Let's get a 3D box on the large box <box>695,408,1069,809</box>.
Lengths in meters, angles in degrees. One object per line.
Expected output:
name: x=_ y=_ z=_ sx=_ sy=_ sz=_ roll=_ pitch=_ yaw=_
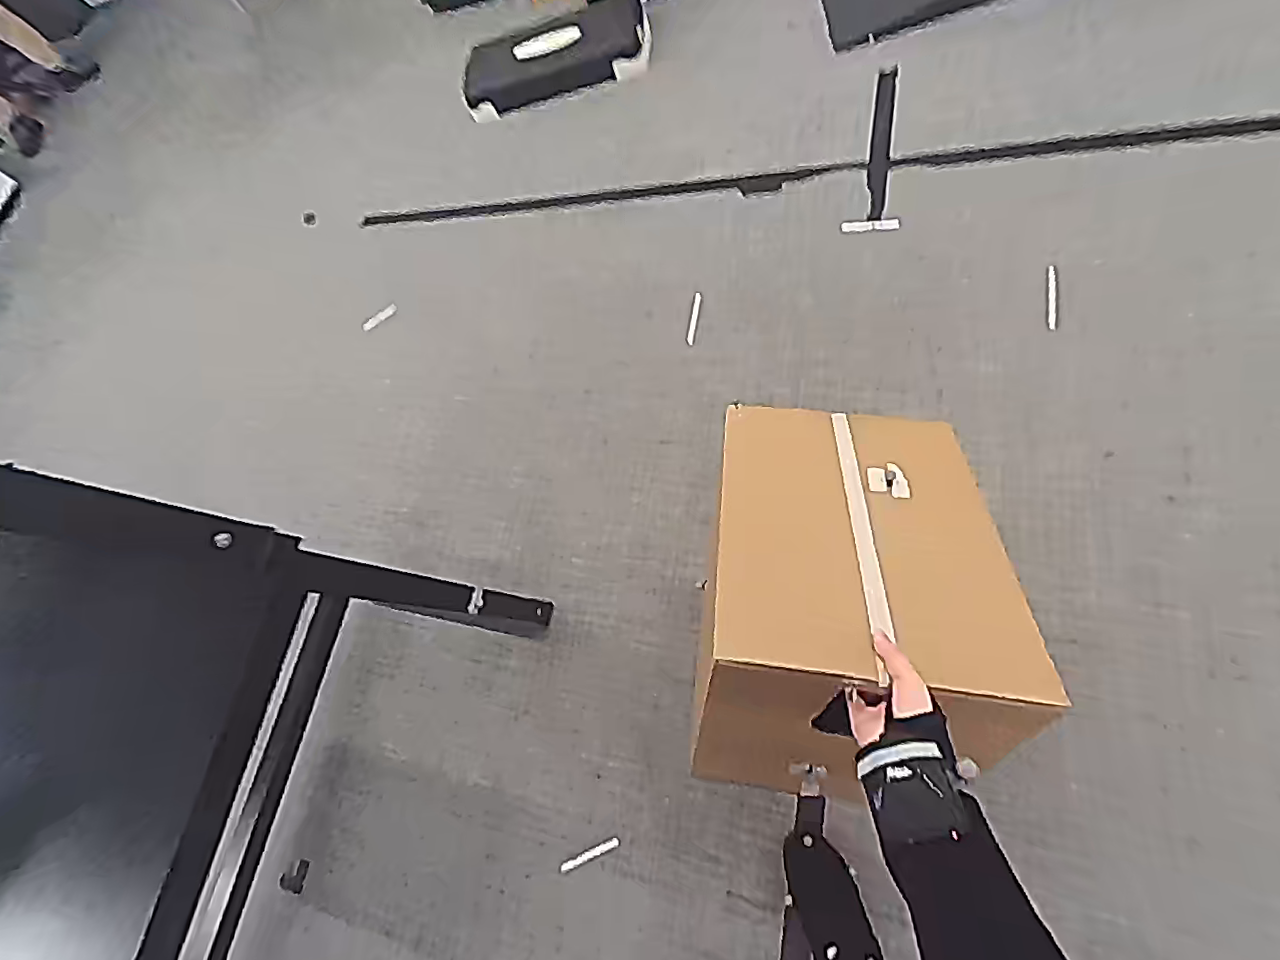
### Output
large box: x=0.242 y=0.153 z=0.716 sx=0.320 sy=0.320 sz=0.408 roll=6 pitch=43 yaw=5
